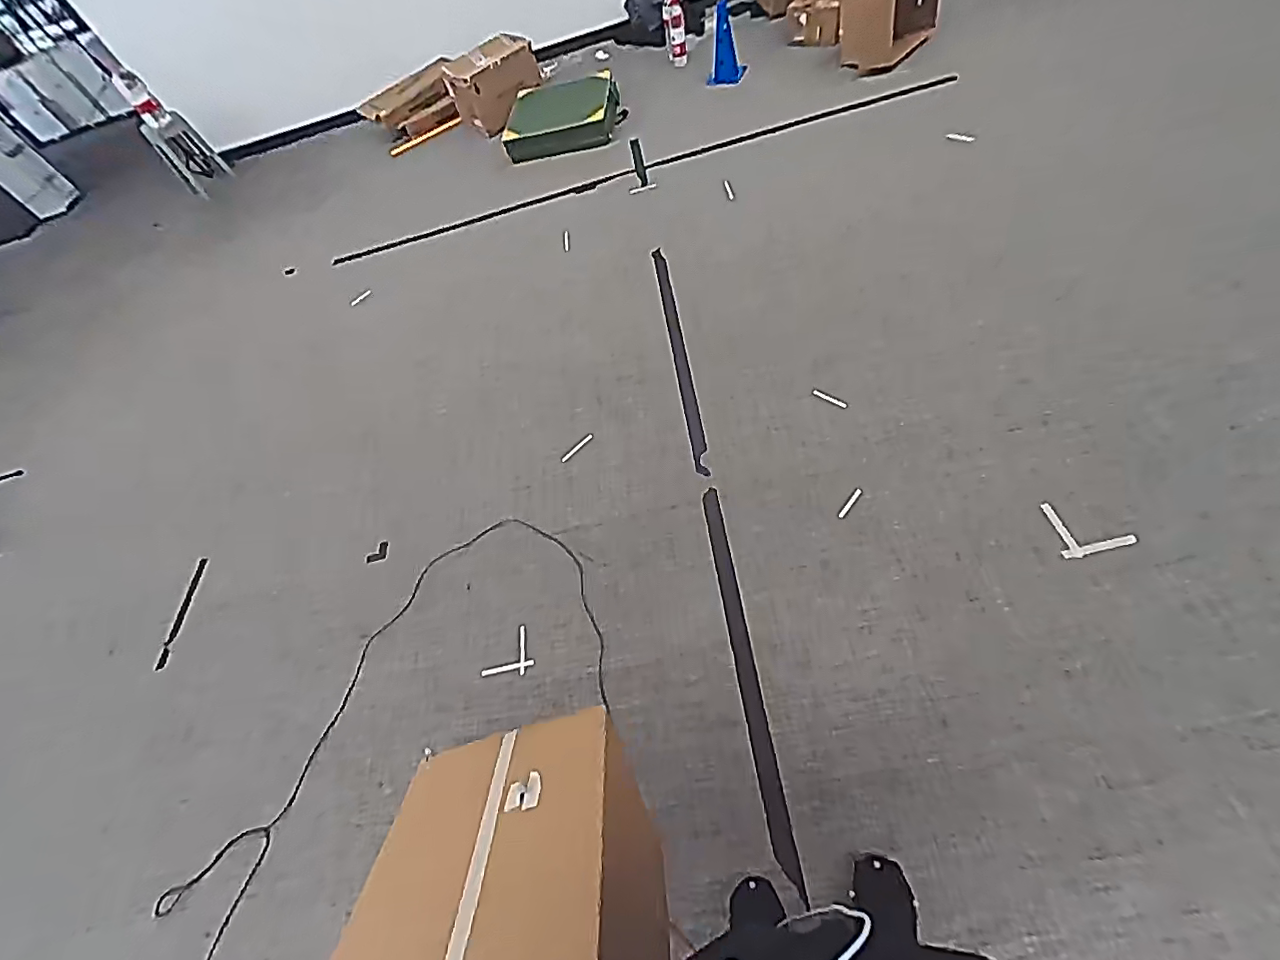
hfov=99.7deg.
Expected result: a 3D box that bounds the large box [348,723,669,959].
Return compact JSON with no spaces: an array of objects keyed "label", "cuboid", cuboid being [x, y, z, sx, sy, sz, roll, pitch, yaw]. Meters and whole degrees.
[{"label":"large box","cuboid":[-0.146,0.621,0.716,0.320,0.320,0.408,-17,15,3]}]
